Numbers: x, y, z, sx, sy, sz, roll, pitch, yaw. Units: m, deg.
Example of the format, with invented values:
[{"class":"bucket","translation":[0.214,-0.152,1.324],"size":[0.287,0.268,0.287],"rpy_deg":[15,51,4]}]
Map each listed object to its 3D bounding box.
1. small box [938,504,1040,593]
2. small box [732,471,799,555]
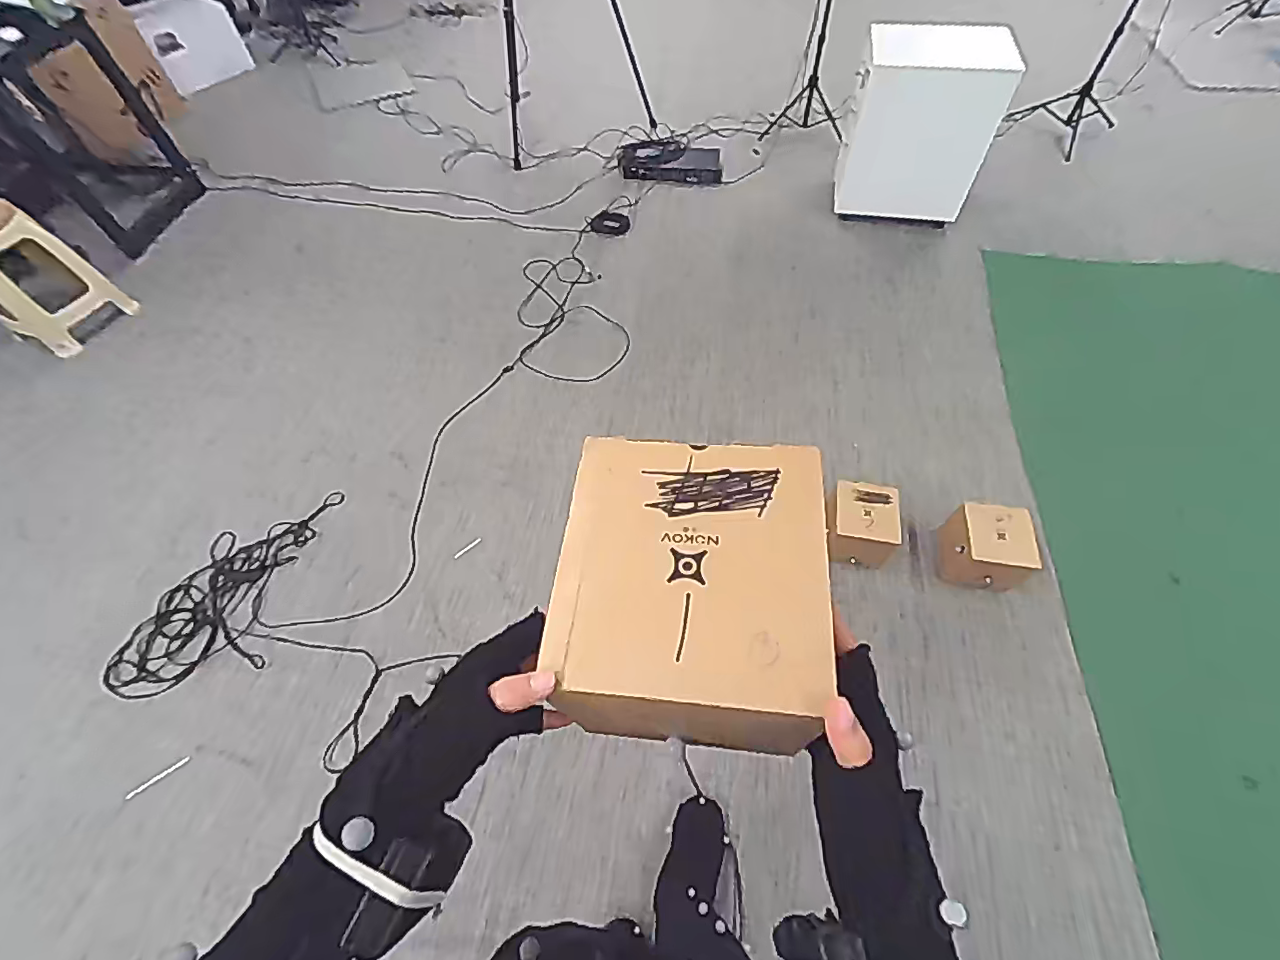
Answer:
[{"class":"small box","translation":[0.932,0.189,1.461],"size":[0.168,0.176,0.179],"rpy_deg":[8,58,6]},{"class":"small box","translation":[0.355,0.099,1.544],"size":[0.168,0.176,0.179],"rpy_deg":[7,57,7]}]
